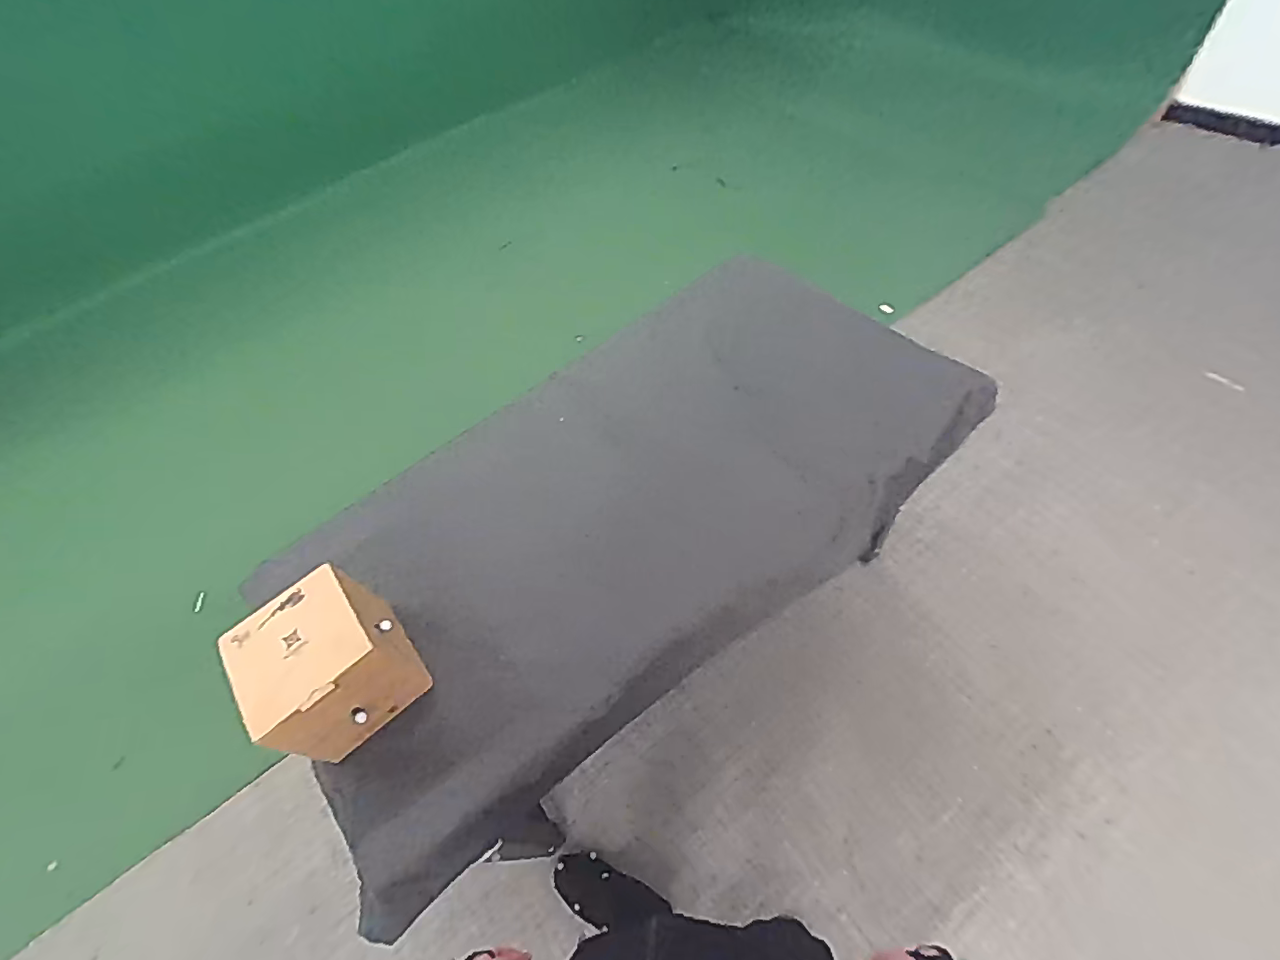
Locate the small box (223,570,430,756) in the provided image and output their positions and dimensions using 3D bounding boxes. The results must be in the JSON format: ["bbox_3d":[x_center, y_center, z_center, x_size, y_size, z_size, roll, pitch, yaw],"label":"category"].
[{"bbox_3d":[-0.436,0.268,0.774,0.168,0.176,0.179,-38,59,-17],"label":"small box"}]
